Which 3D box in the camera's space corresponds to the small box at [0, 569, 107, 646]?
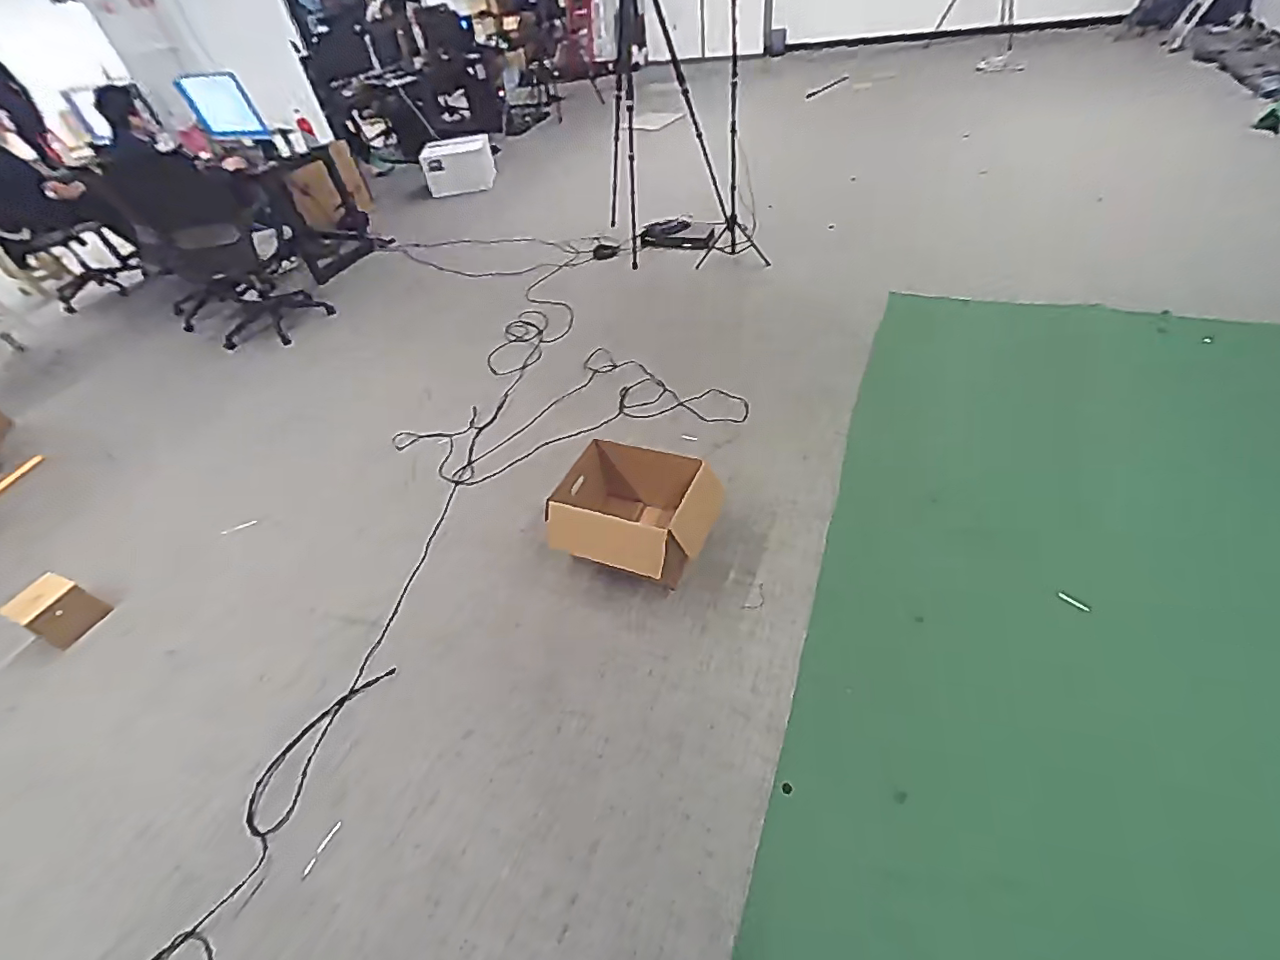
[{"bbox_3d":[-2.028,0.445,1.881,0.168,0.176,0.179,12,50,19],"label":"small box"}]
